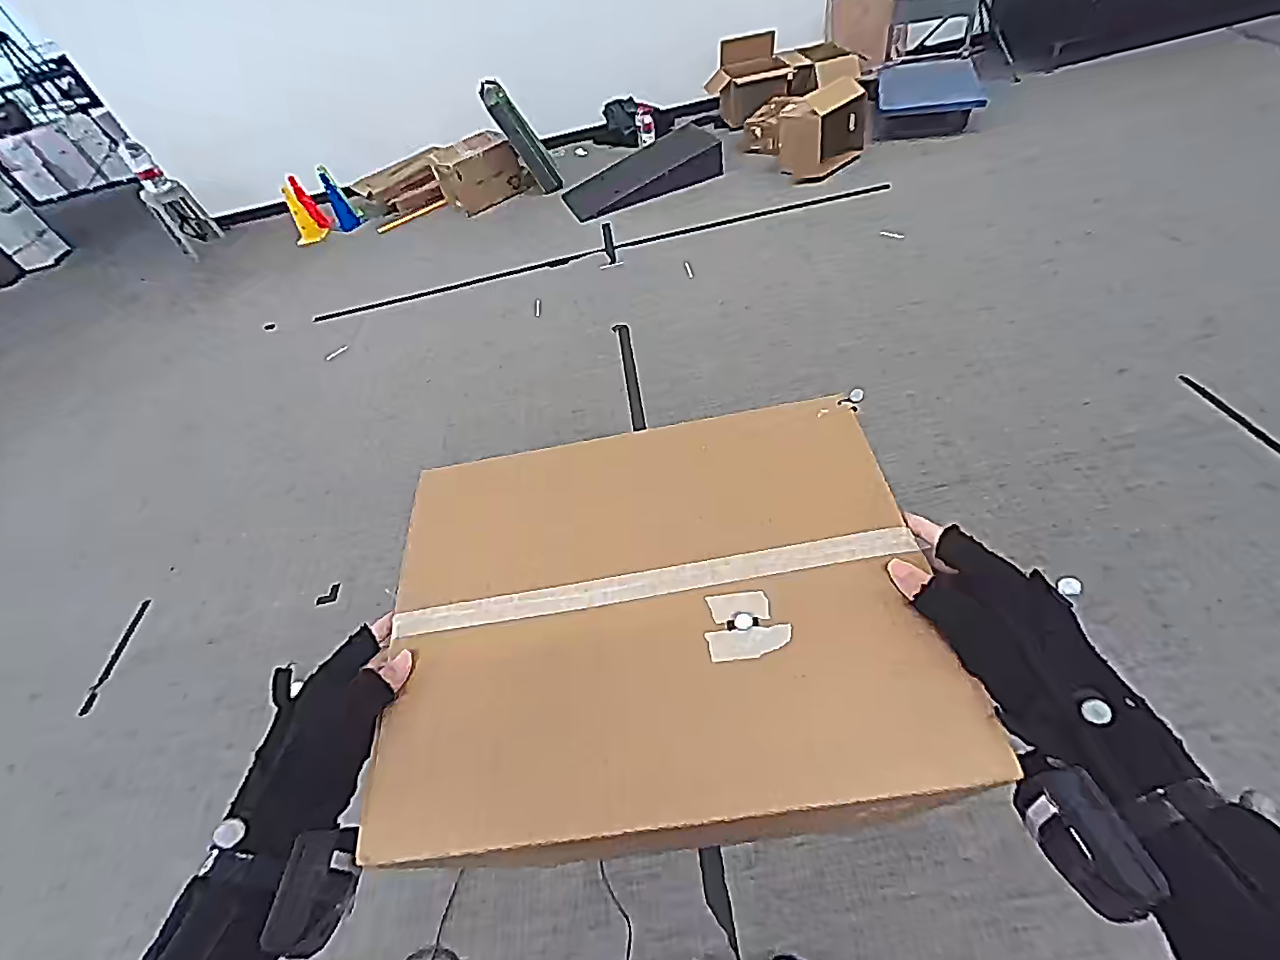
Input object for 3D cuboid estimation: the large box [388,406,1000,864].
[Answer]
[{"bbox_3d":[0.033,0.172,0.547,0.408,0.320,0.320,-10,54,3],"label":"large box"}]
